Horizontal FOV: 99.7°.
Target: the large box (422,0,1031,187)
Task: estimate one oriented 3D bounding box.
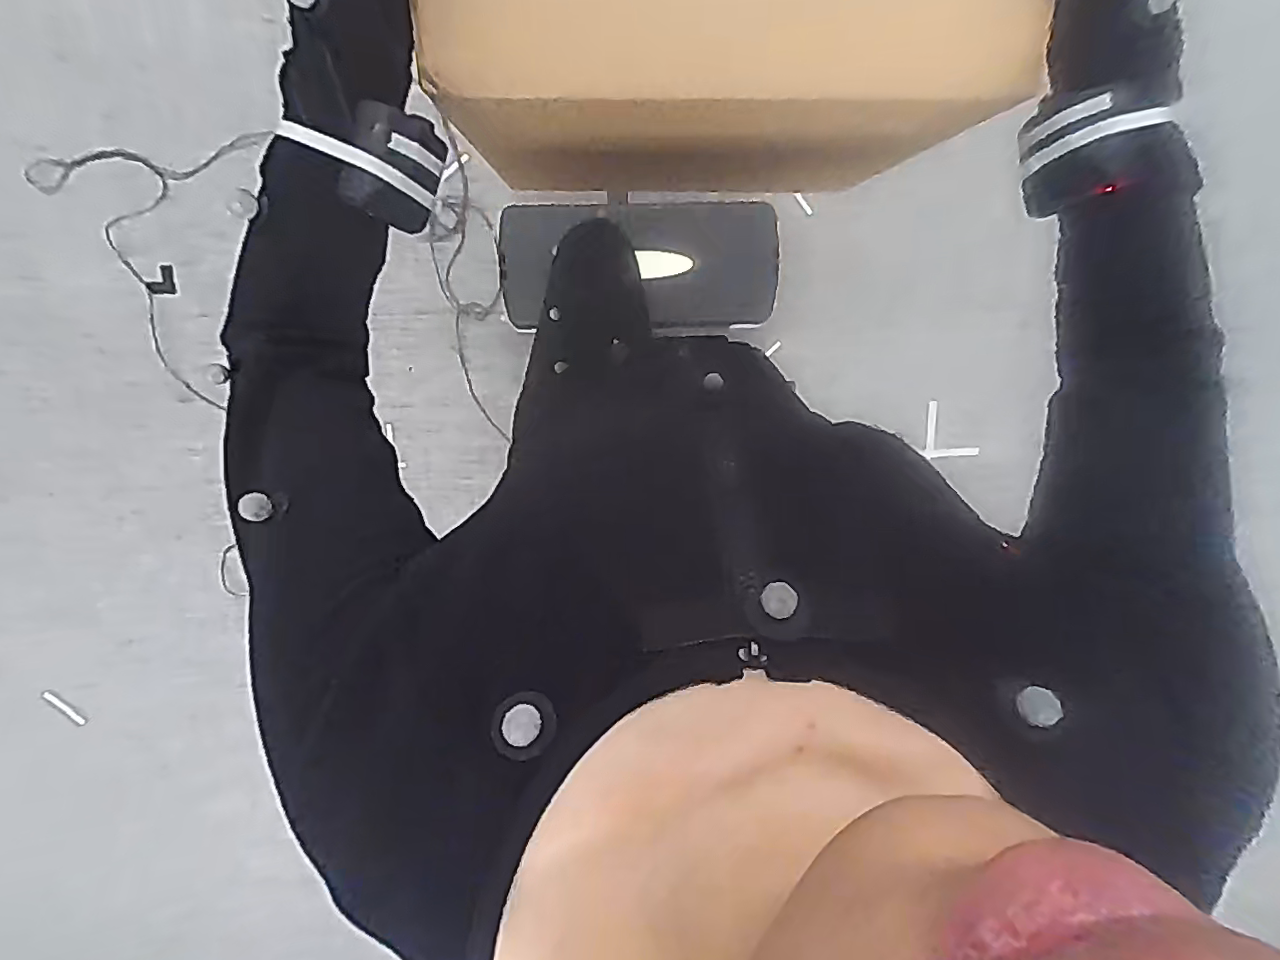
[{"bbox_3d":[0.048,-0.454,0.457,0.408,0.320,0.320,-2,108,-3],"label":"large box"}]
